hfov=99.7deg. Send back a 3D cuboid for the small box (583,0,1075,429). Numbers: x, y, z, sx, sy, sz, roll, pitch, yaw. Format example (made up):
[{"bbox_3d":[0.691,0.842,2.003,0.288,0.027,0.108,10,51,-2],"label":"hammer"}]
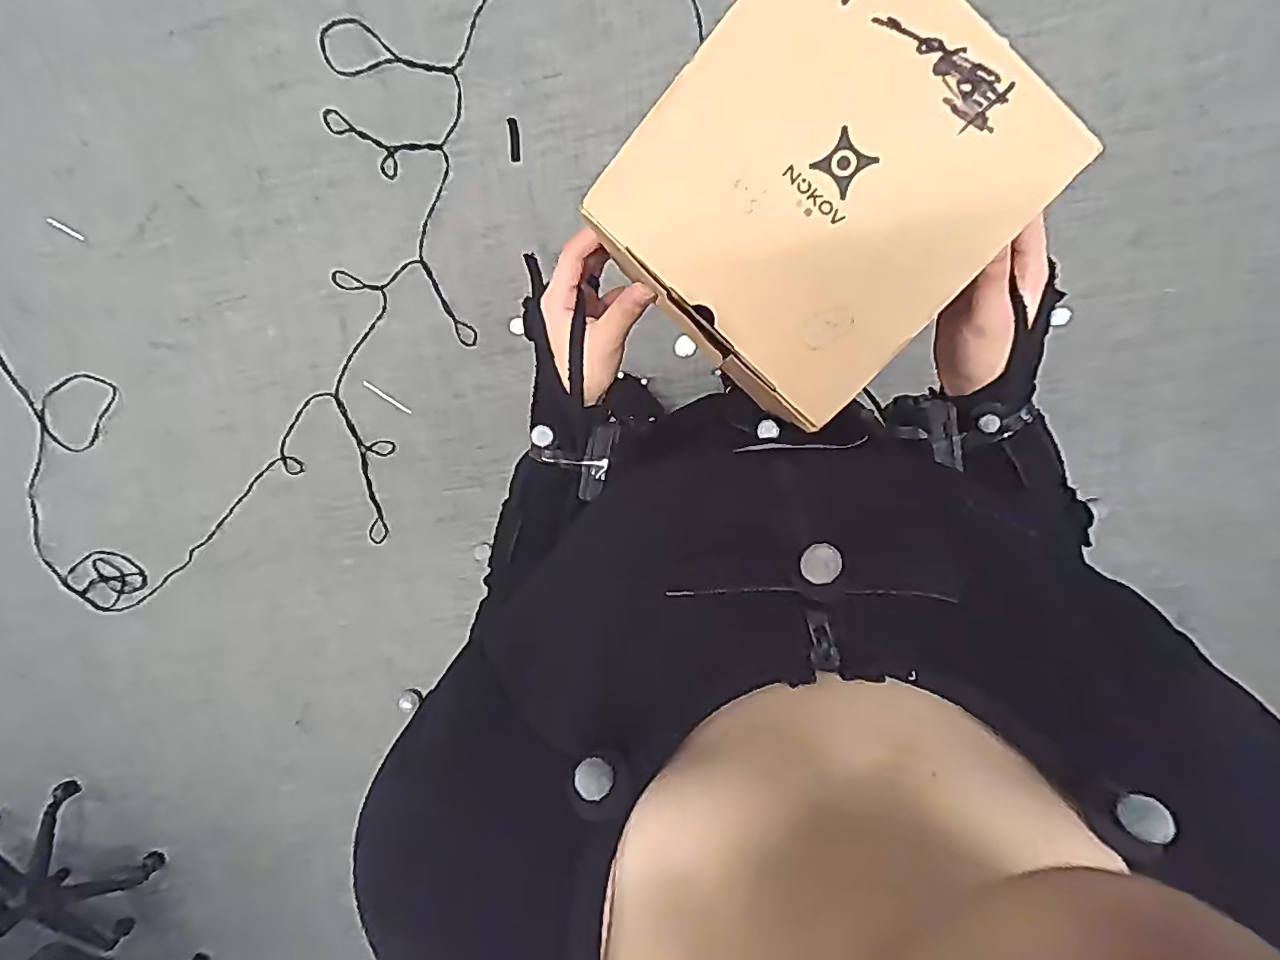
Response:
[{"bbox_3d":[0.095,-0.156,0.340,0.168,0.176,0.179,42,103,-4],"label":"small box"}]
